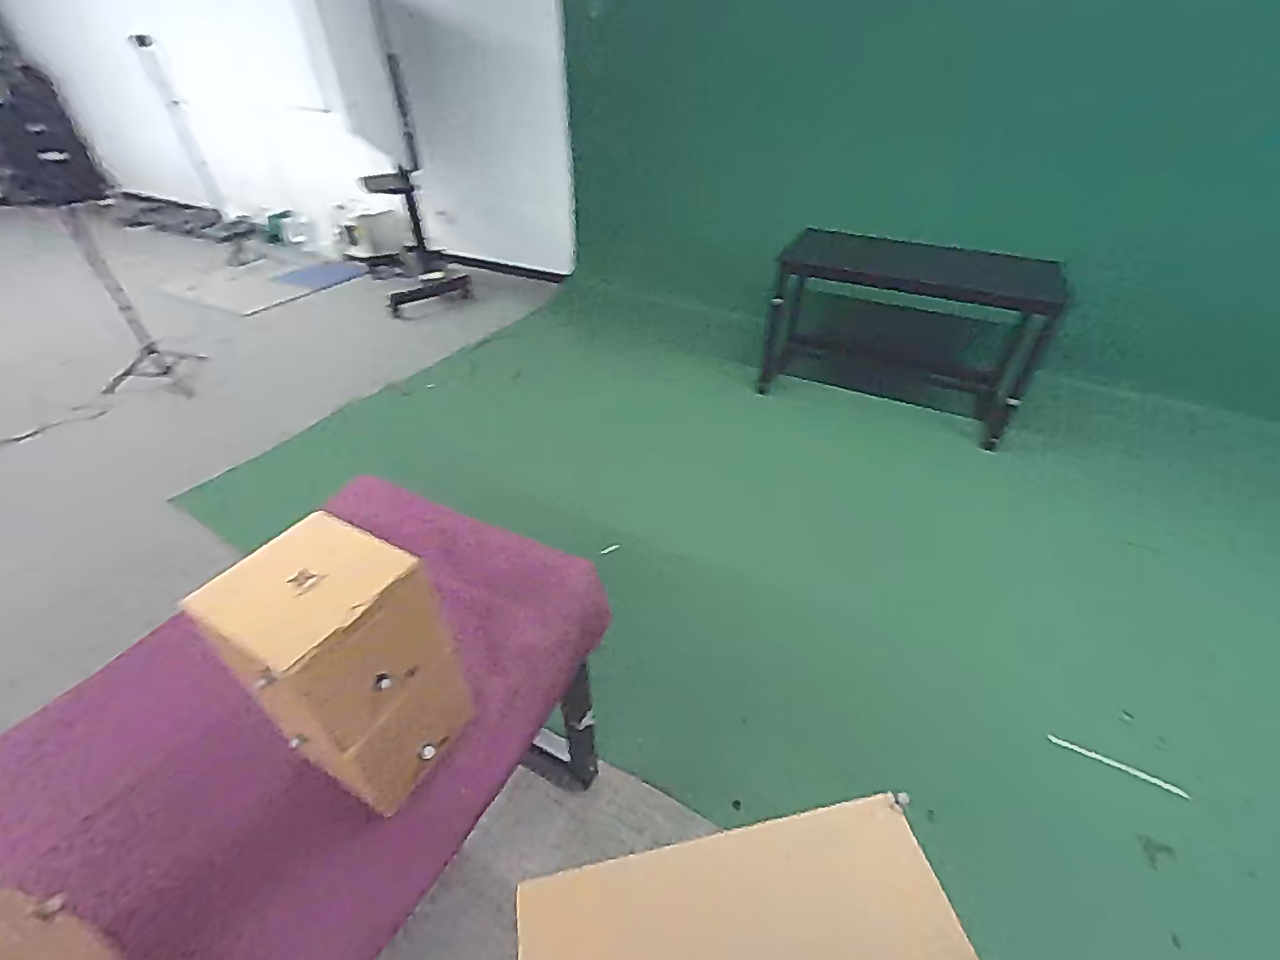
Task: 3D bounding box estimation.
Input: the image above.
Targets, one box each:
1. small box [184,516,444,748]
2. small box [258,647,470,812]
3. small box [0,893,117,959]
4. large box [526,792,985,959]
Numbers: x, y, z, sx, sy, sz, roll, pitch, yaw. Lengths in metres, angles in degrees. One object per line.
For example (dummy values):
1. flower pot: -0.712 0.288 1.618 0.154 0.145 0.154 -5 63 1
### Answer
1. small box: -0.362 0.175 0.631 0.179 0.176 0.168 18 42 21
2. small box: -0.359 0.305 0.729 0.179 0.176 0.168 19 42 21
3. small box: -0.570 0.509 0.463 0.179 0.176 0.168 17 42 20
4. large box: 0.111 0.572 0.534 0.408 0.320 0.320 -6 41 -9
